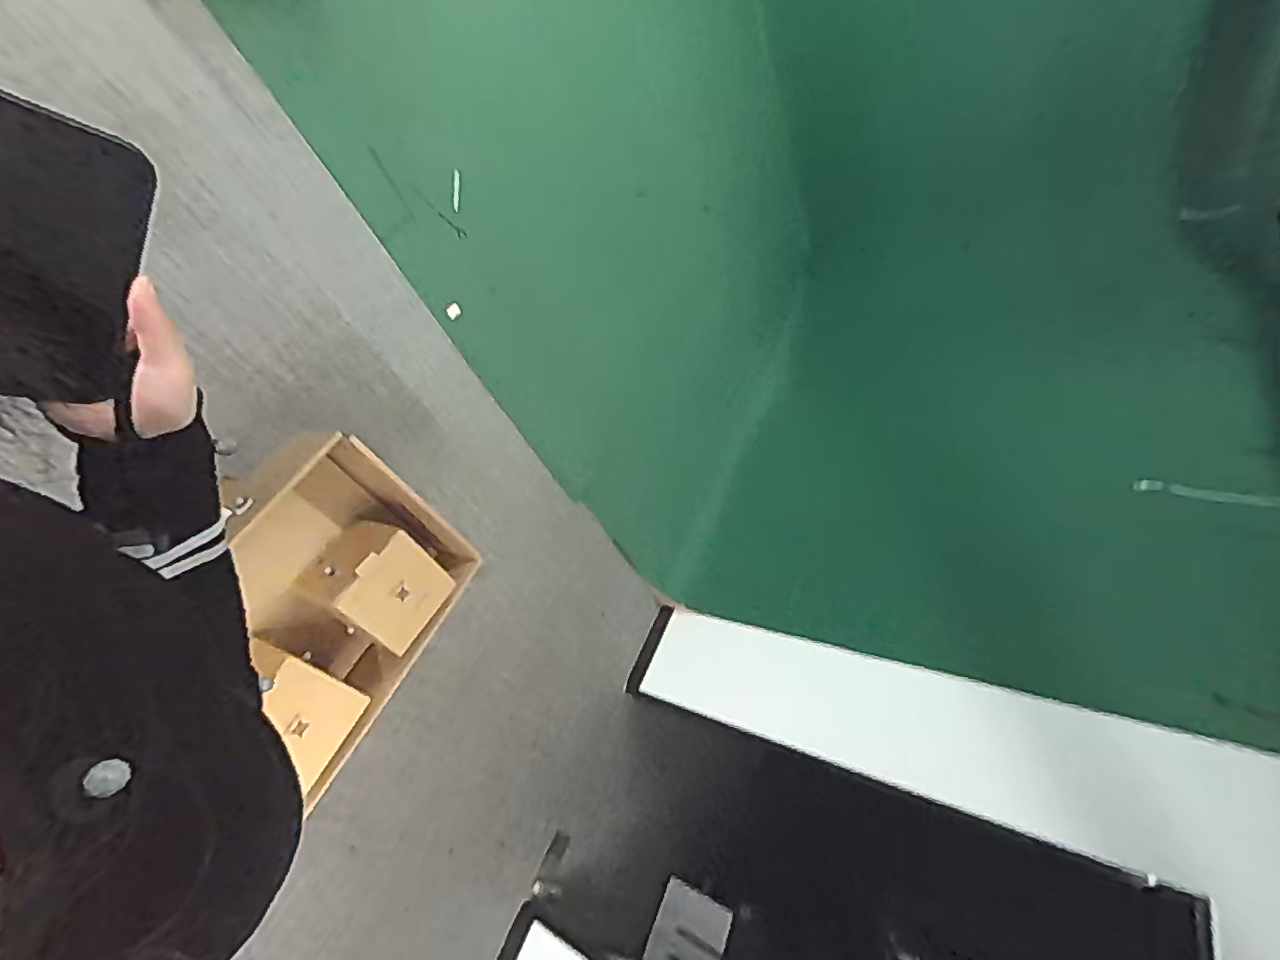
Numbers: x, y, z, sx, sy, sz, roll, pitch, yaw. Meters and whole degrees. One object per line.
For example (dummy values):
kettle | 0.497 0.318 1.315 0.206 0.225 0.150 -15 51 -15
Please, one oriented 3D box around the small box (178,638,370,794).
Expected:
small box | -0.607 0.386 0.903 0.179 0.176 0.168 57 50 -39
